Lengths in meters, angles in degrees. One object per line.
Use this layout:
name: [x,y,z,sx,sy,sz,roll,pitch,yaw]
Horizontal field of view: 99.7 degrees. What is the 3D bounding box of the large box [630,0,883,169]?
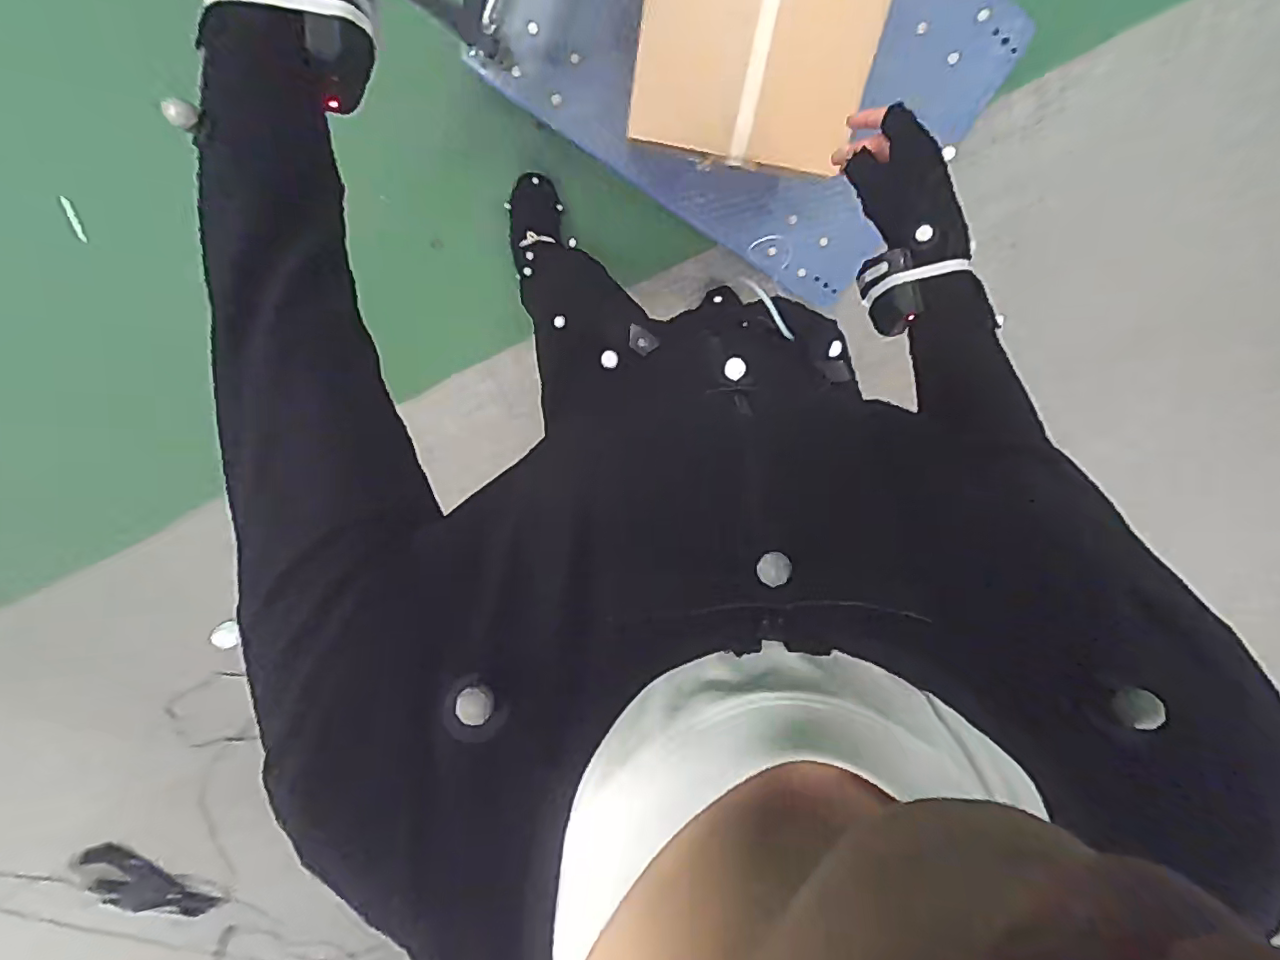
large box: [0.165,-0.720,0.812,0.320,0.320,0.408,8,119,-6]
